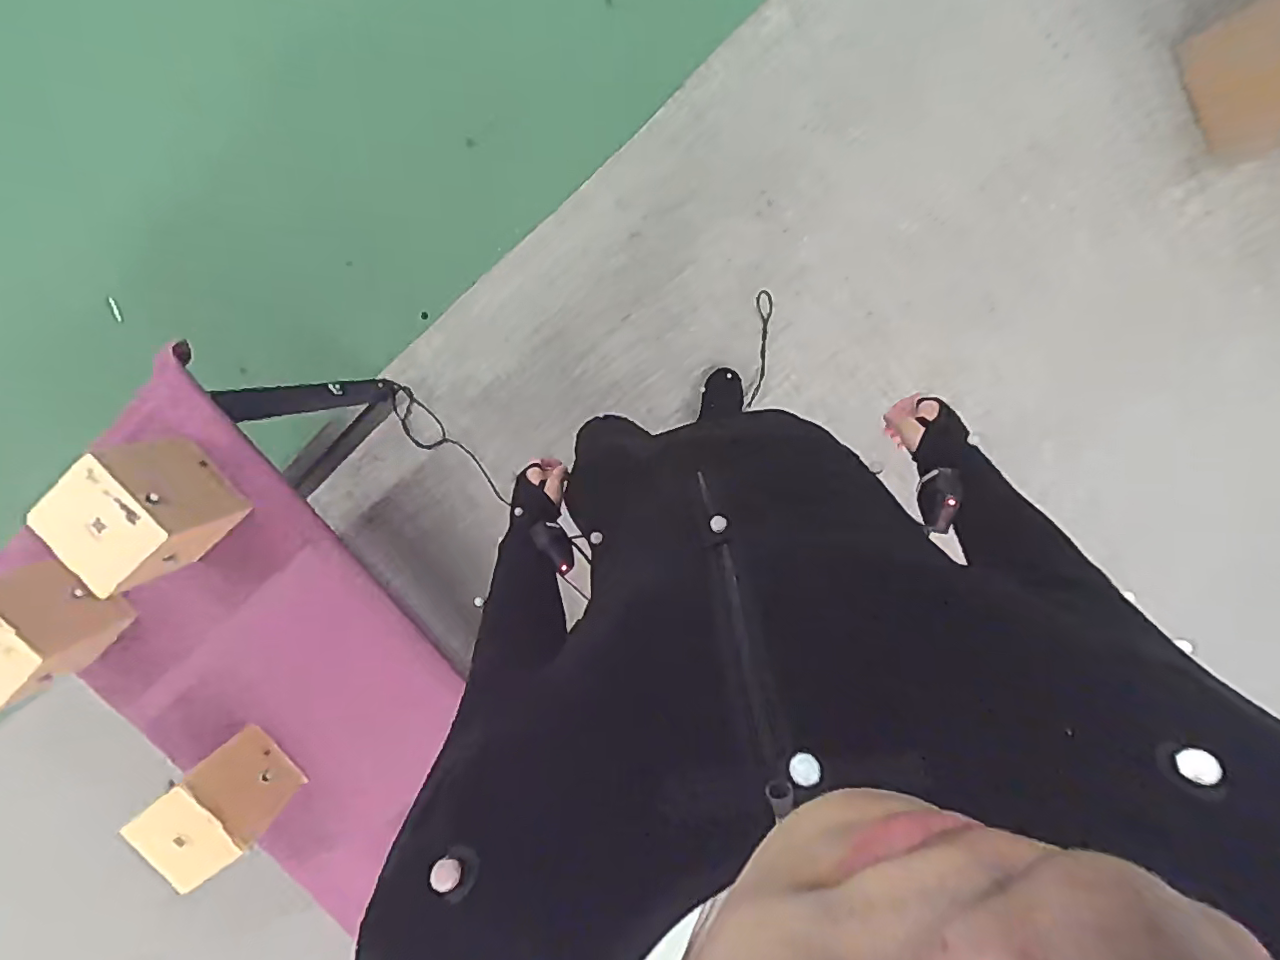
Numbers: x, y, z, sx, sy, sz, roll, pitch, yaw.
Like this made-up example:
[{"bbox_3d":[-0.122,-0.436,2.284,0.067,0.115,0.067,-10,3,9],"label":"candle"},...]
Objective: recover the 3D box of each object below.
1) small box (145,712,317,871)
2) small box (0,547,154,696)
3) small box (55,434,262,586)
[{"bbox_3d":[-0.788,0.601,1.061,0.179,0.176,0.168,-37,96,12],"label":"small box"},{"bbox_3d":[-1.081,0.255,1.011,0.179,0.176,0.168,-40,98,13],"label":"small box"},{"bbox_3d":[-0.809,0.043,0.927,0.179,0.176,0.168,-37,98,14],"label":"small box"}]
